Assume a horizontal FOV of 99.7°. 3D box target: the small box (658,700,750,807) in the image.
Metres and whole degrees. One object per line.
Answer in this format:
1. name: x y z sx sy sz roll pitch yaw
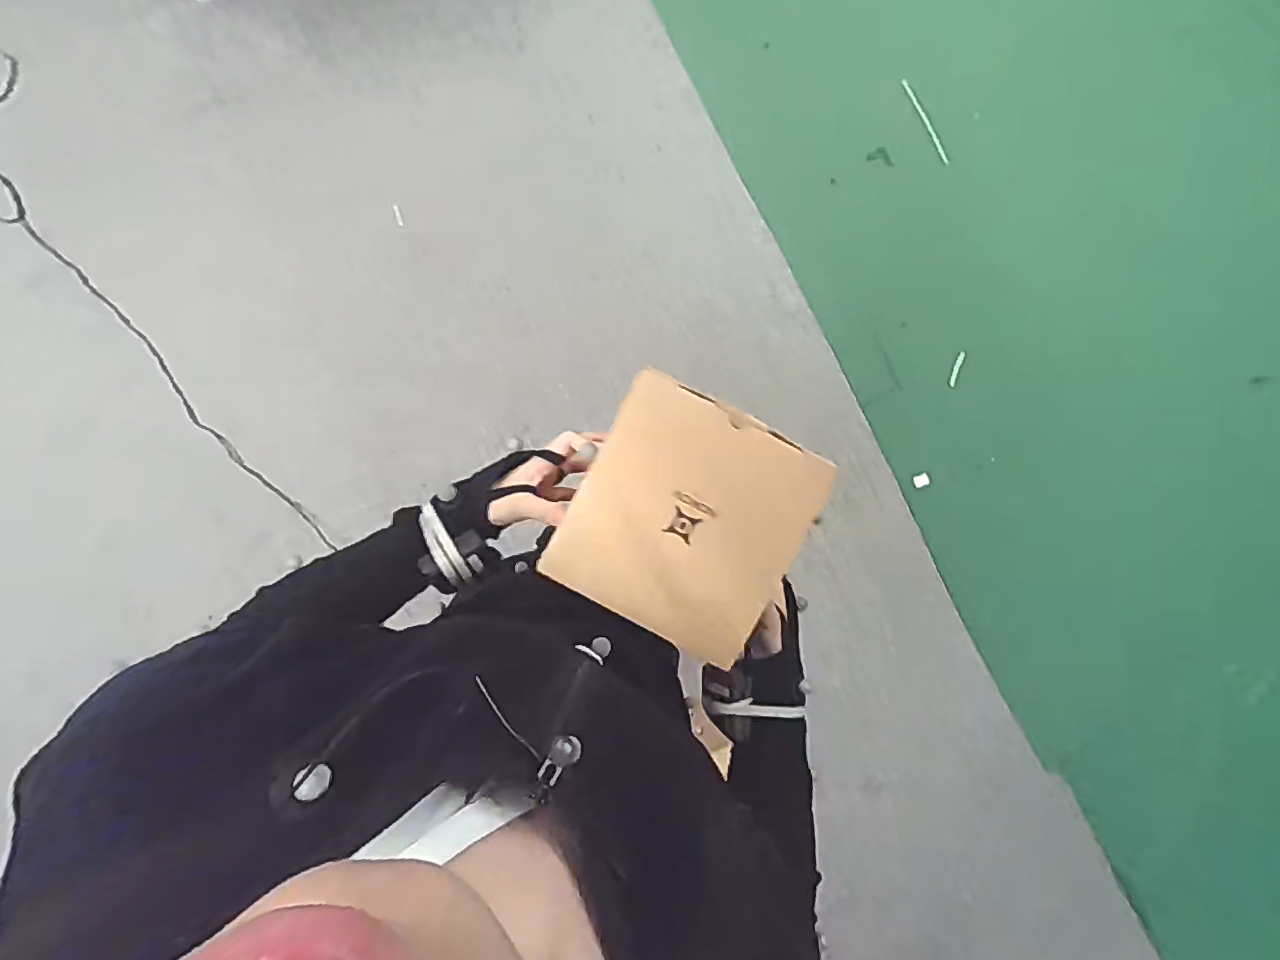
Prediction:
1. small box: 0.158 0.695 1.406 0.168 0.176 0.179 -24 86 -7
